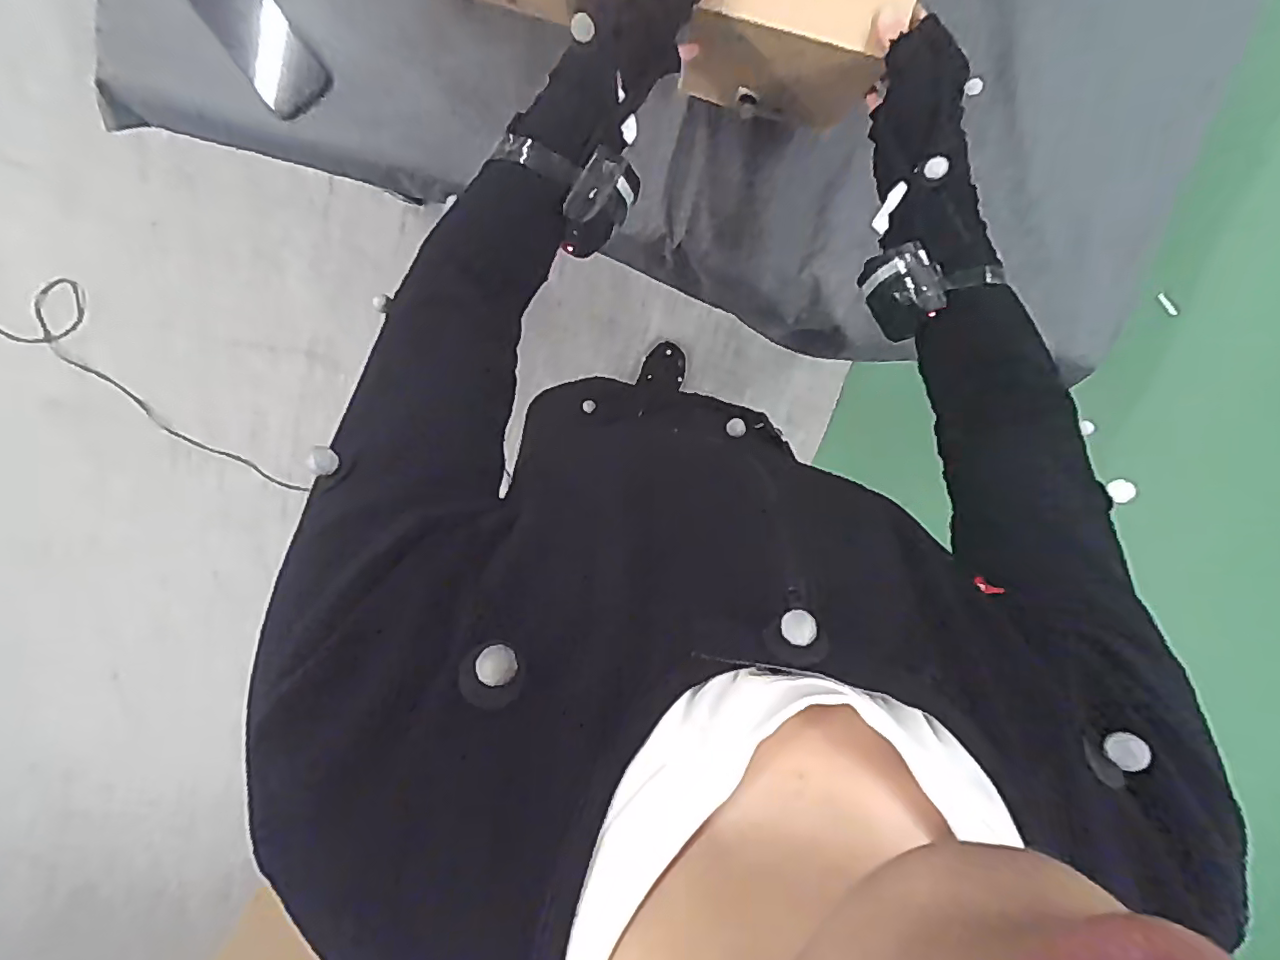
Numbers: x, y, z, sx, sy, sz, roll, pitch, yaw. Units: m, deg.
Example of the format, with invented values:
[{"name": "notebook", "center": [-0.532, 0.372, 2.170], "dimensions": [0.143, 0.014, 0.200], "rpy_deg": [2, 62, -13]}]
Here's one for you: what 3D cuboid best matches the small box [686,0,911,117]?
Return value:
[{"name": "small box", "center": [0.140, -0.457, 0.468], "dimensions": [0.168, 0.176, 0.179], "rpy_deg": [12, 107, -3]}]
